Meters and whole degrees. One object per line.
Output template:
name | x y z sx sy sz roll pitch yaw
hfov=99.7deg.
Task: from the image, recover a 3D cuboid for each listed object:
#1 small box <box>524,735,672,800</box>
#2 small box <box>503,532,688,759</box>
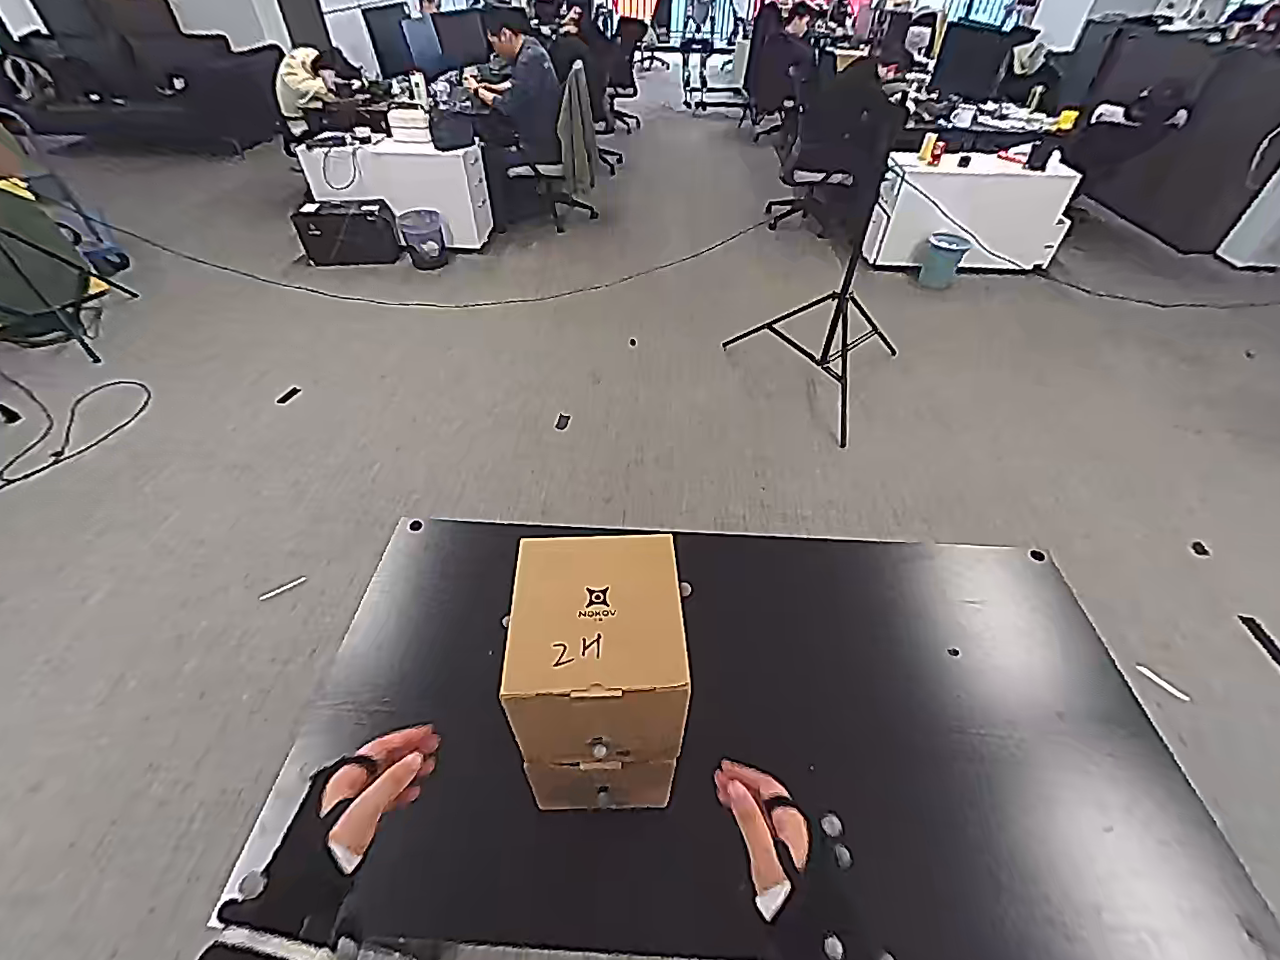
small box | -0.046 0.300 0.701 0.168 0.176 0.179 -1 45 -1
small box | -0.043 0.177 0.586 0.168 0.176 0.179 -2 43 -2
